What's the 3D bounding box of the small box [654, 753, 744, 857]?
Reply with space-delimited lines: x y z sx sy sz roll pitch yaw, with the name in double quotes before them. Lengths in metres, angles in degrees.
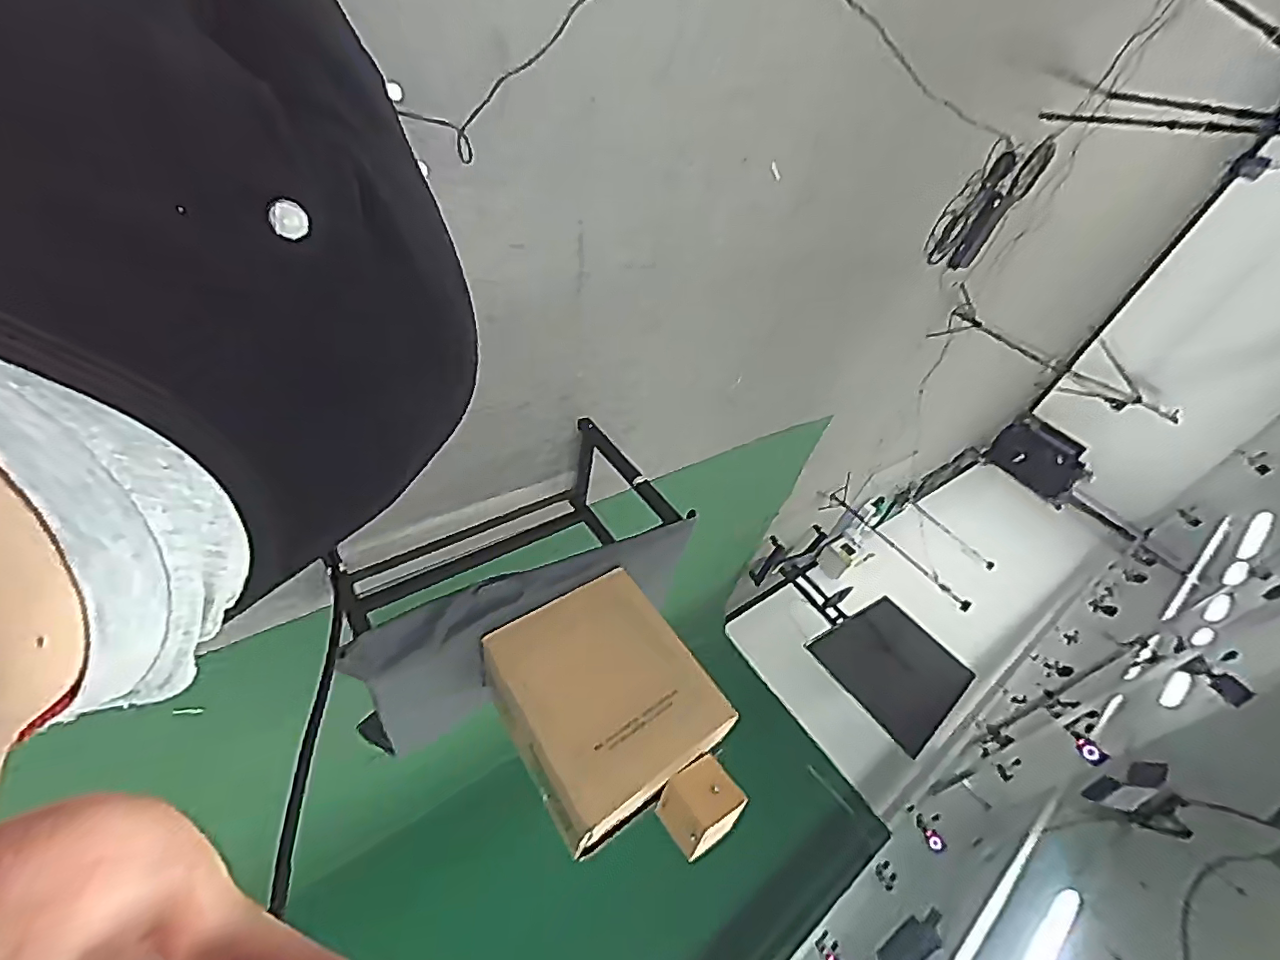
"small box" 0.171 0.958 1.610 0.179 0.176 0.168 -11 127 -39
